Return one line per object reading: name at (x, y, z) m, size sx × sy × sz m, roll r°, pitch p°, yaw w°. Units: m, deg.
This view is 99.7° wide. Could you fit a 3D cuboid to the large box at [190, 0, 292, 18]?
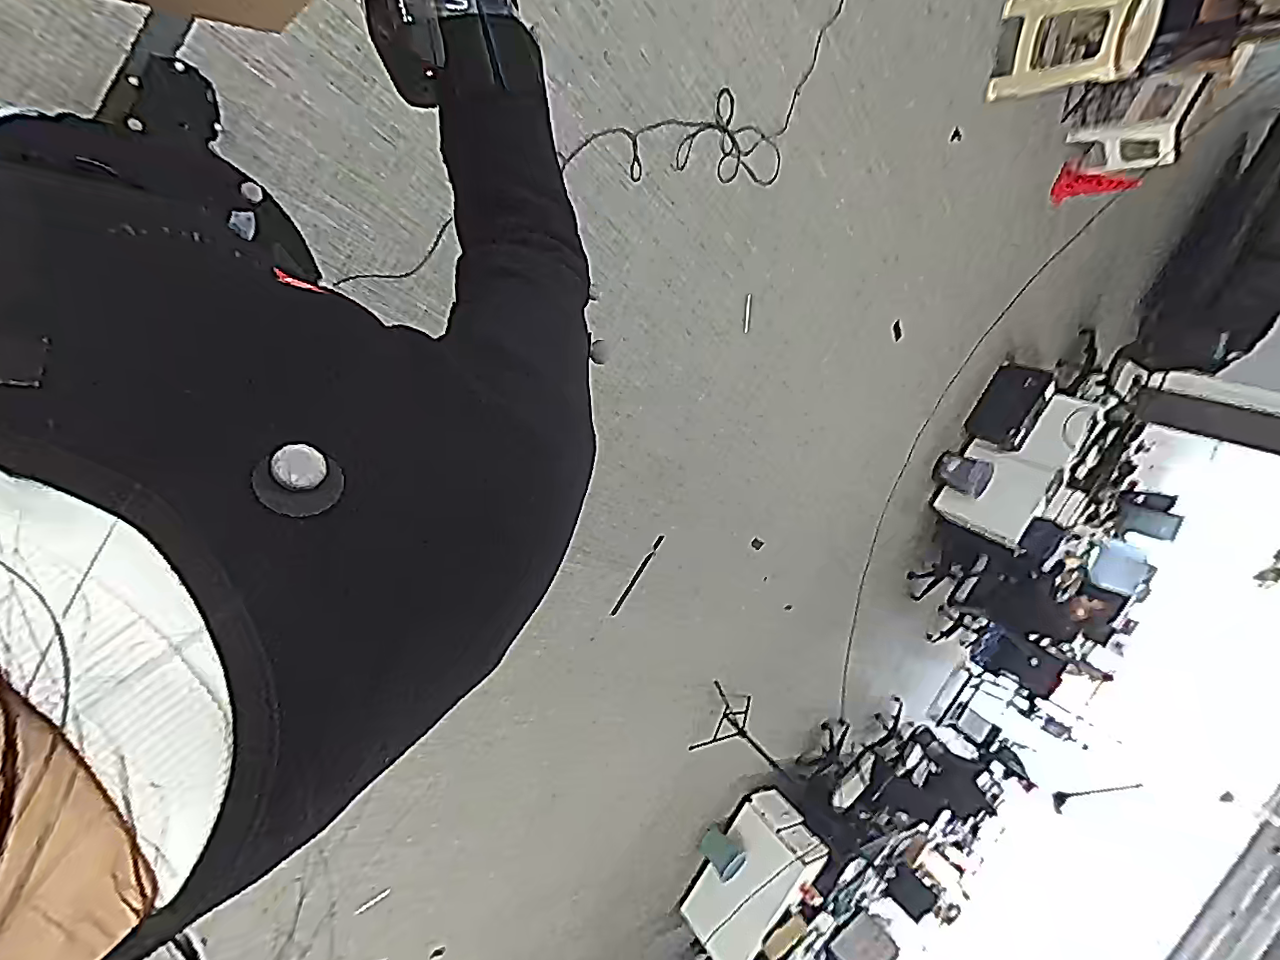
large box at (-0.389, -0.459, 0.226) m, size 0.408 × 0.320 × 0.320 m, roll -16°, pitch 126°, yaw -36°
